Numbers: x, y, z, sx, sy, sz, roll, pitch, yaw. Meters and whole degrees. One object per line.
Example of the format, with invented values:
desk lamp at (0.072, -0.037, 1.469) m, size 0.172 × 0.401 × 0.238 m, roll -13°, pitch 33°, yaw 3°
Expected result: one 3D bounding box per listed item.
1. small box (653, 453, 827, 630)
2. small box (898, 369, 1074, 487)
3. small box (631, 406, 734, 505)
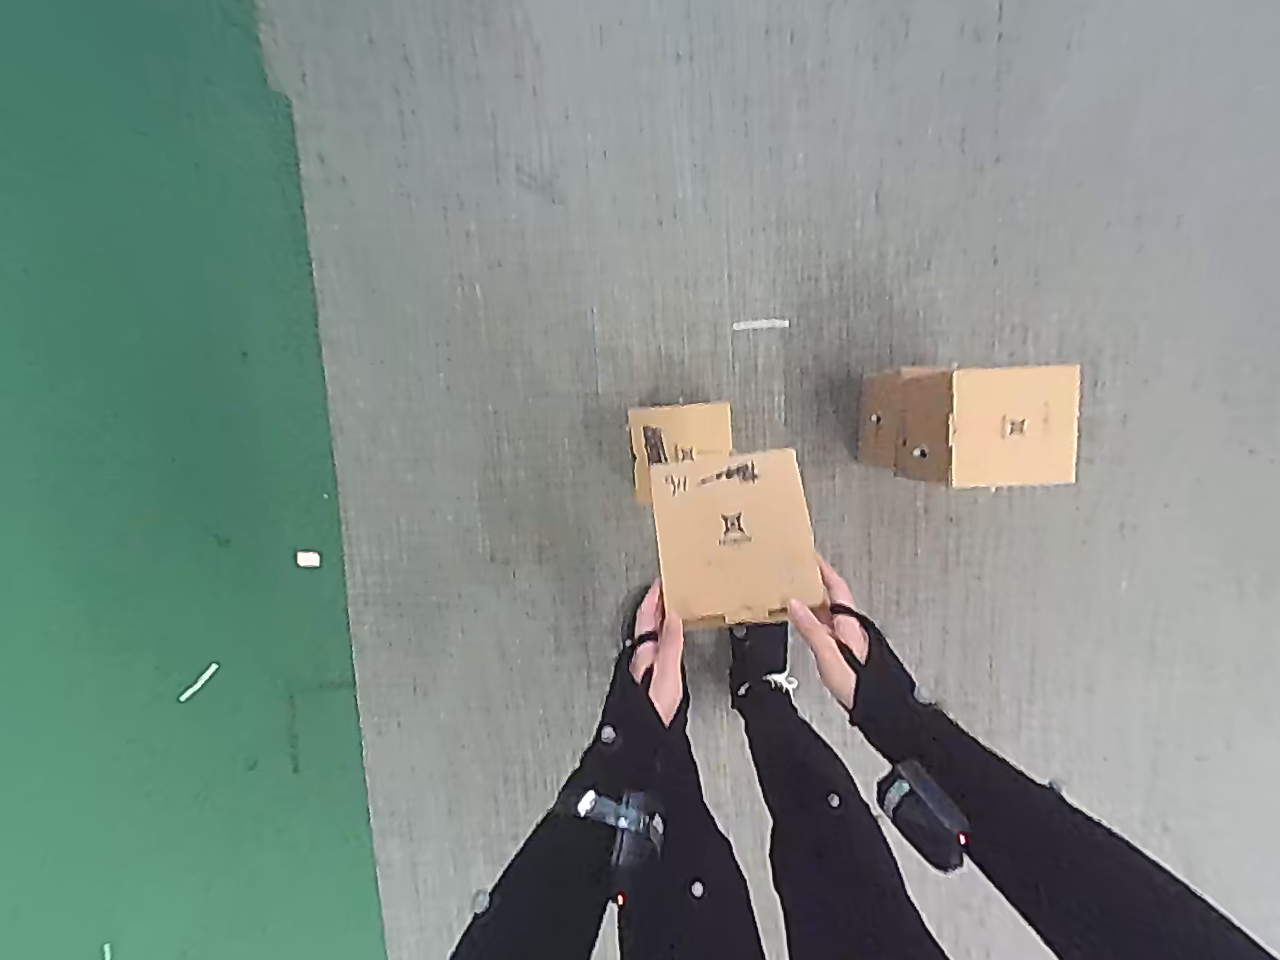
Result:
small box at (0.109, 0.085, 0.651) m, size 0.168 × 0.176 × 0.179 m, roll -7°, pitch 71°, yaw 2°
small box at (0.519, -0.078, 0.837) m, size 0.179 × 0.176 × 0.168 m, roll -2°, pitch 95°, yaw 1°
small box at (0.078, -0.047, 1.014) m, size 0.179 × 0.176 × 0.168 m, roll -4°, pitch 95°, yaw 1°
